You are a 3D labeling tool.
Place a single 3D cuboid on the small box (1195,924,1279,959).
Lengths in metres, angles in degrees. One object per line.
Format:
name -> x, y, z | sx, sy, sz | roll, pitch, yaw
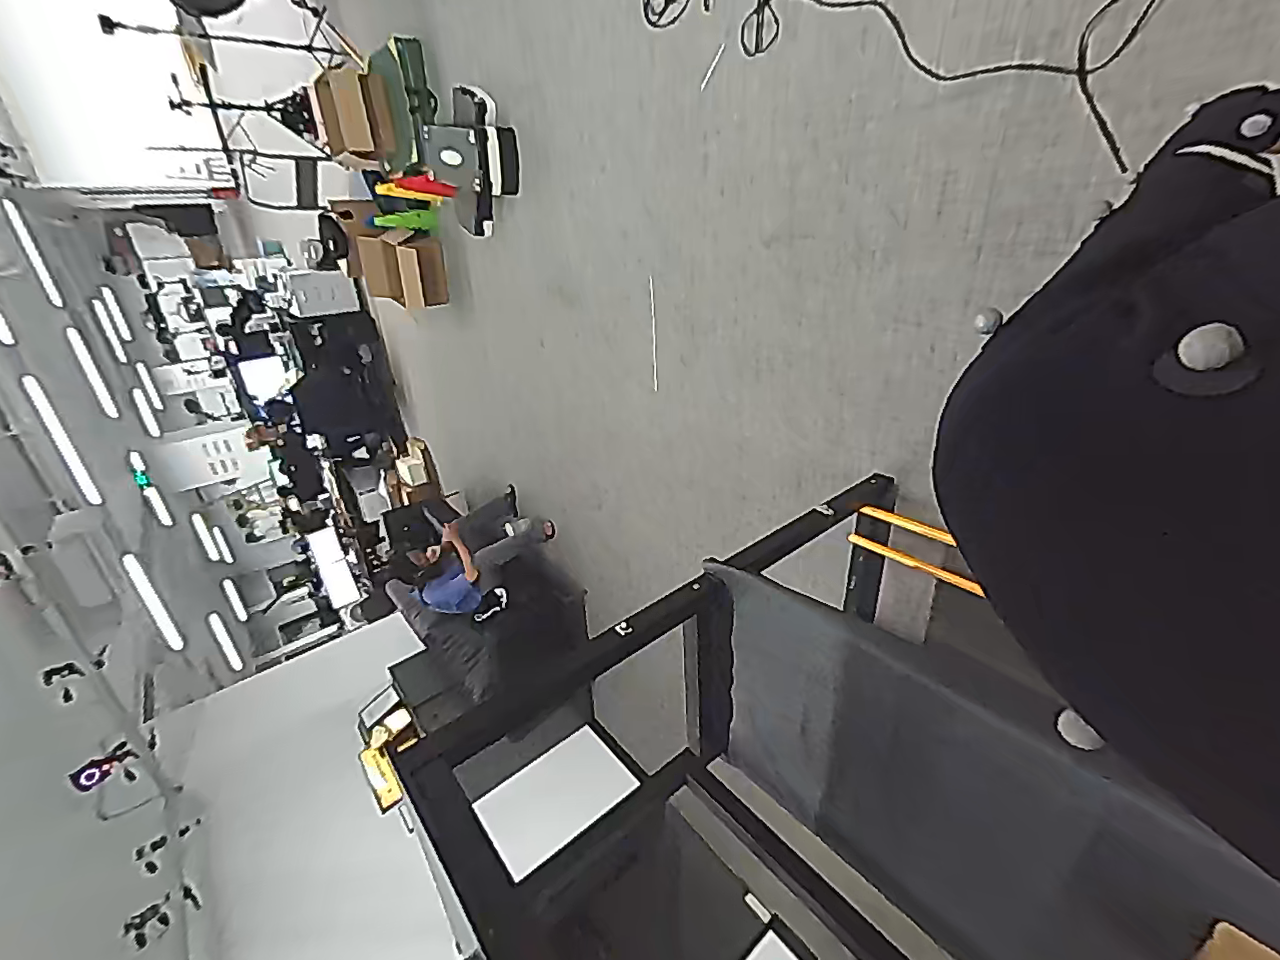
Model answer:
small box -> 0.726, 0.666, 0.607 | 0.168, 0.176, 0.179 | 24, 128, 46
